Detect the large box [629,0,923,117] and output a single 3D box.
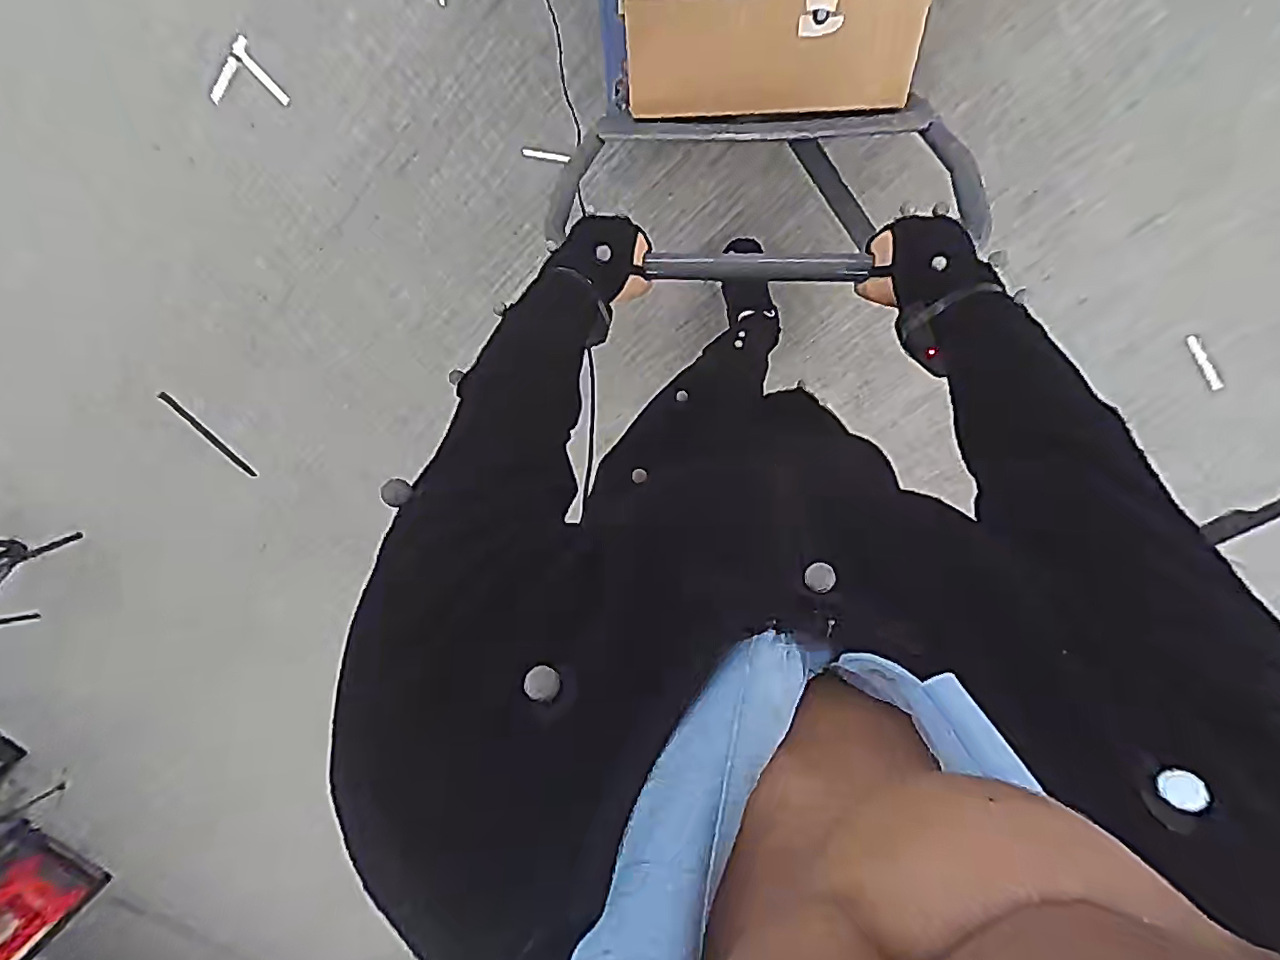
[{"bbox_3d":[0.197,-0.776,0.828,0.408,0.320,0.320,3,133,8],"label":"large box"}]
